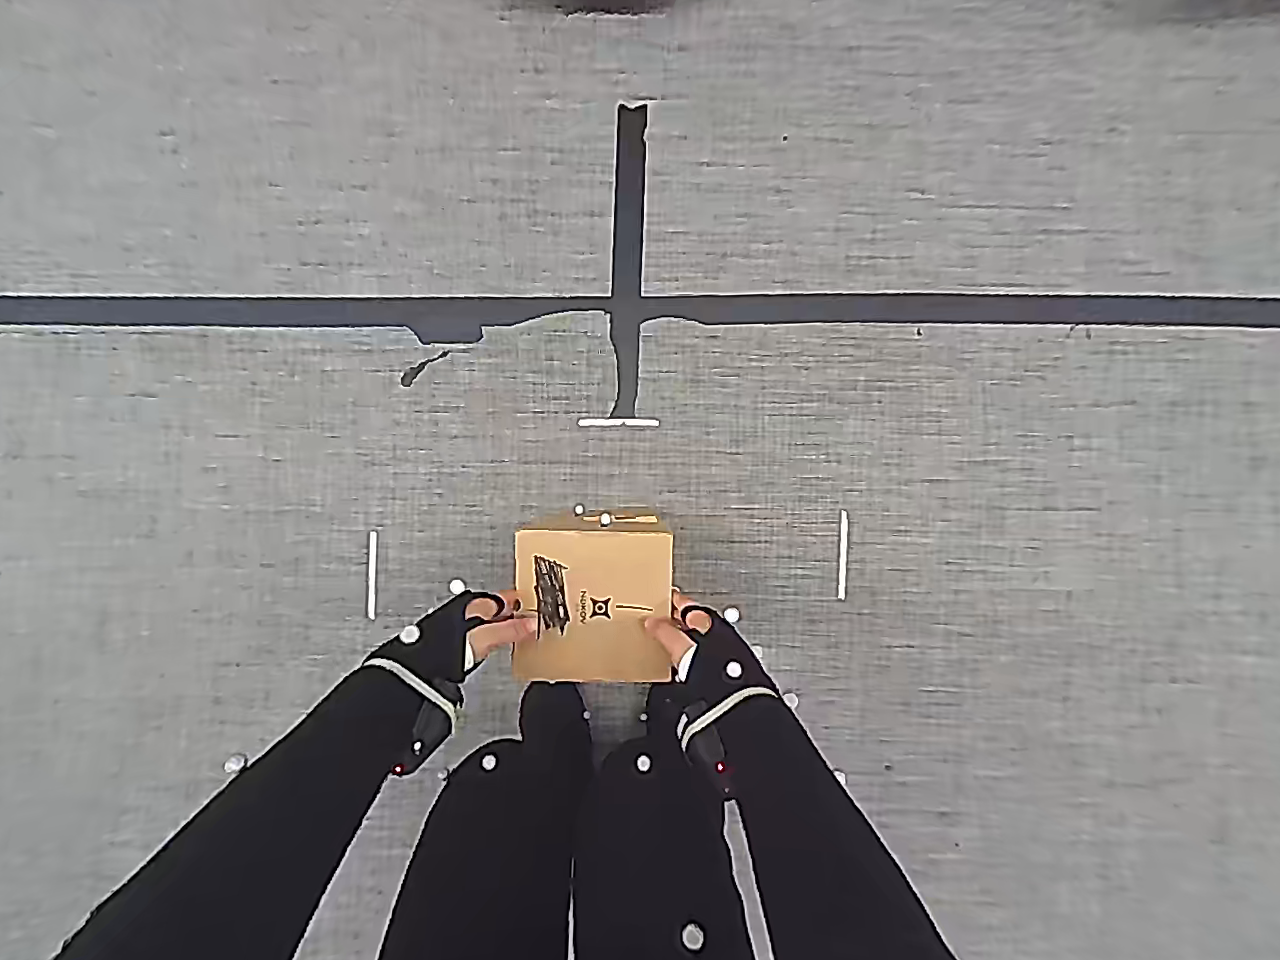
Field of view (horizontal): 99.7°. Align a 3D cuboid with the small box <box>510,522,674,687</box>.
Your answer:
[{"bbox_3d":[-0.052,0.141,0.665,0.179,0.176,0.168,2,90,-1],"label":"small box"}]

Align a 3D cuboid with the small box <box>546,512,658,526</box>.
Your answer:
[{"bbox_3d":[-0.051,0.143,0.835,0.168,0.176,0.179,-4,92,1],"label":"small box"}]
